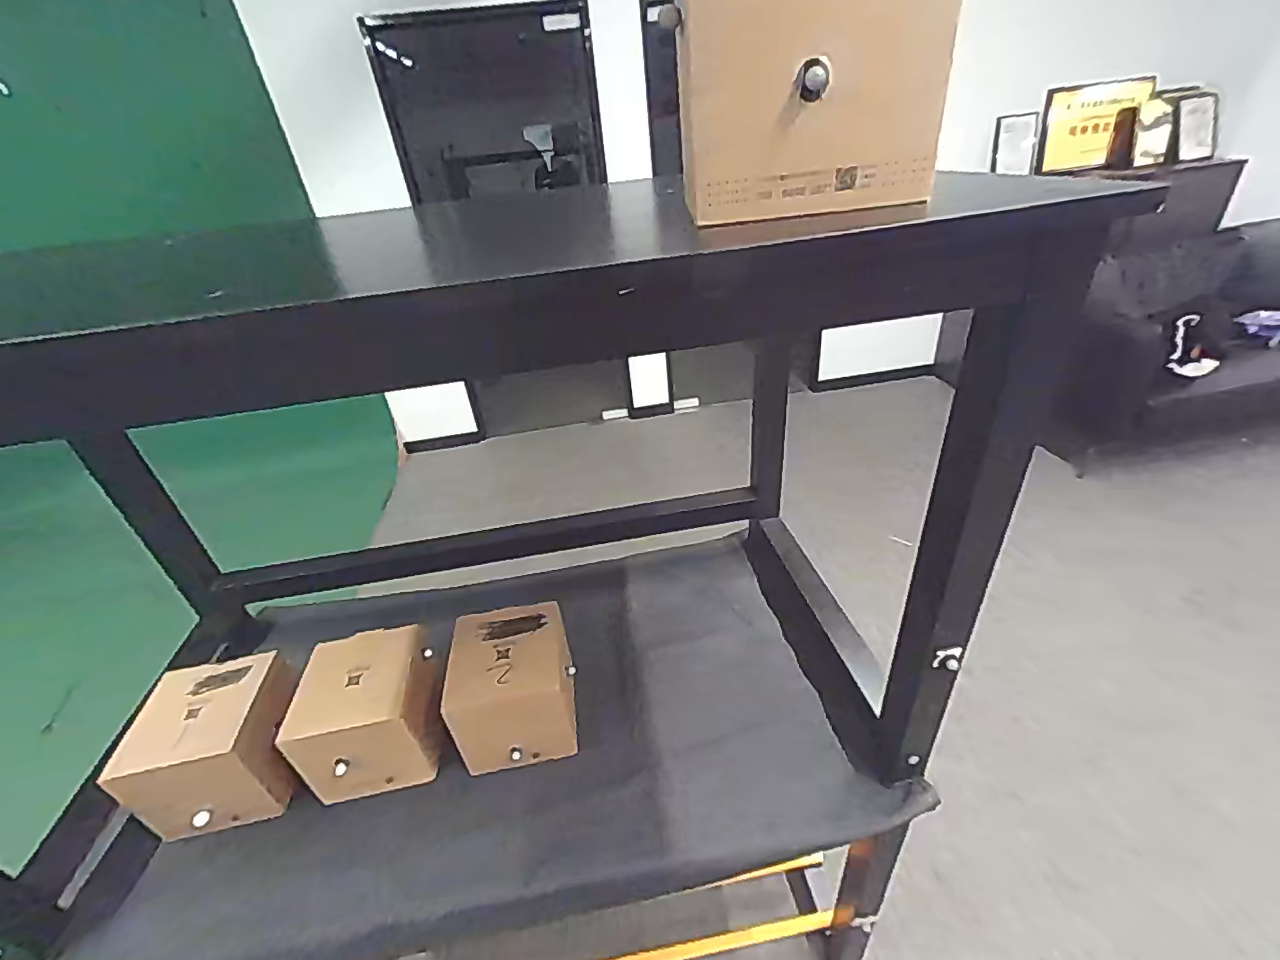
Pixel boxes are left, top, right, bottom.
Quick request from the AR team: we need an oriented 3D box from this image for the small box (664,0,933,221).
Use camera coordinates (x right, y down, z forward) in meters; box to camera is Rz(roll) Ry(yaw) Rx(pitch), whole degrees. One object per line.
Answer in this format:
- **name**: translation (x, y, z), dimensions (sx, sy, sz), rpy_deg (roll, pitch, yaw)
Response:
- **small box**: translation (0.106, -0.302, 0.413), dimensions (0.168, 0.176, 0.179), rpy_deg (-4, 32, 5)

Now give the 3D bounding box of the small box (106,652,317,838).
- **small box**: translation (-0.625, 0.398, 0.822), dimensions (0.168, 0.176, 0.179), rpy_deg (-11, 33, -6)
